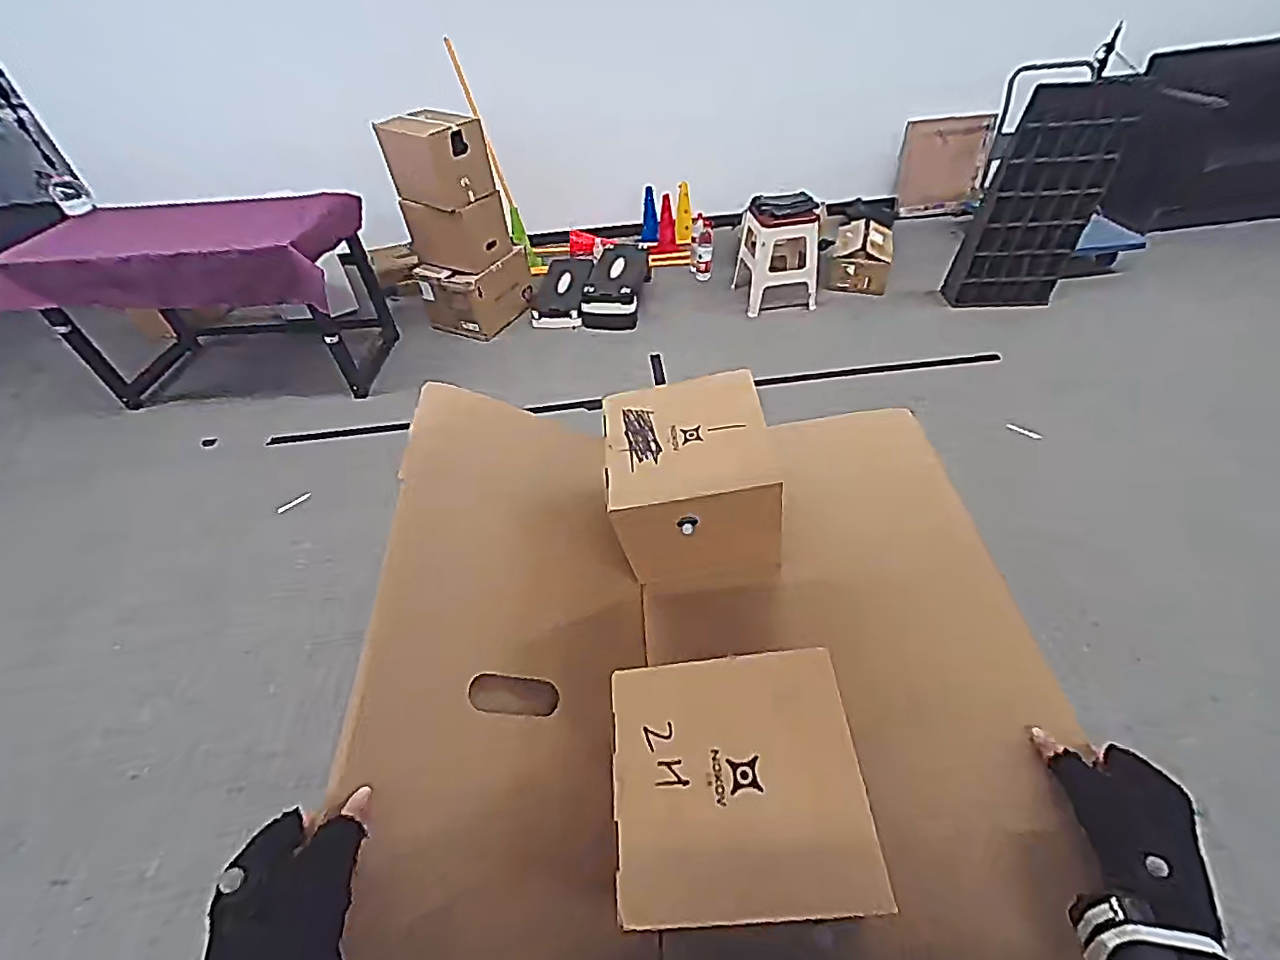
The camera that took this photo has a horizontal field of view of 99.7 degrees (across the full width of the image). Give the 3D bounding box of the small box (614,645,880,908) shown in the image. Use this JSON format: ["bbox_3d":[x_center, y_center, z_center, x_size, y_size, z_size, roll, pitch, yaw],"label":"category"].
[{"bbox_3d":[0.081,0.256,0.464,0.179,0.176,0.168,-9,53,8],"label":"small box"}]

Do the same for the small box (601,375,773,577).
[{"bbox_3d":[0.059,0.004,0.656,0.179,0.176,0.168,-10,53,6],"label":"small box"}]
